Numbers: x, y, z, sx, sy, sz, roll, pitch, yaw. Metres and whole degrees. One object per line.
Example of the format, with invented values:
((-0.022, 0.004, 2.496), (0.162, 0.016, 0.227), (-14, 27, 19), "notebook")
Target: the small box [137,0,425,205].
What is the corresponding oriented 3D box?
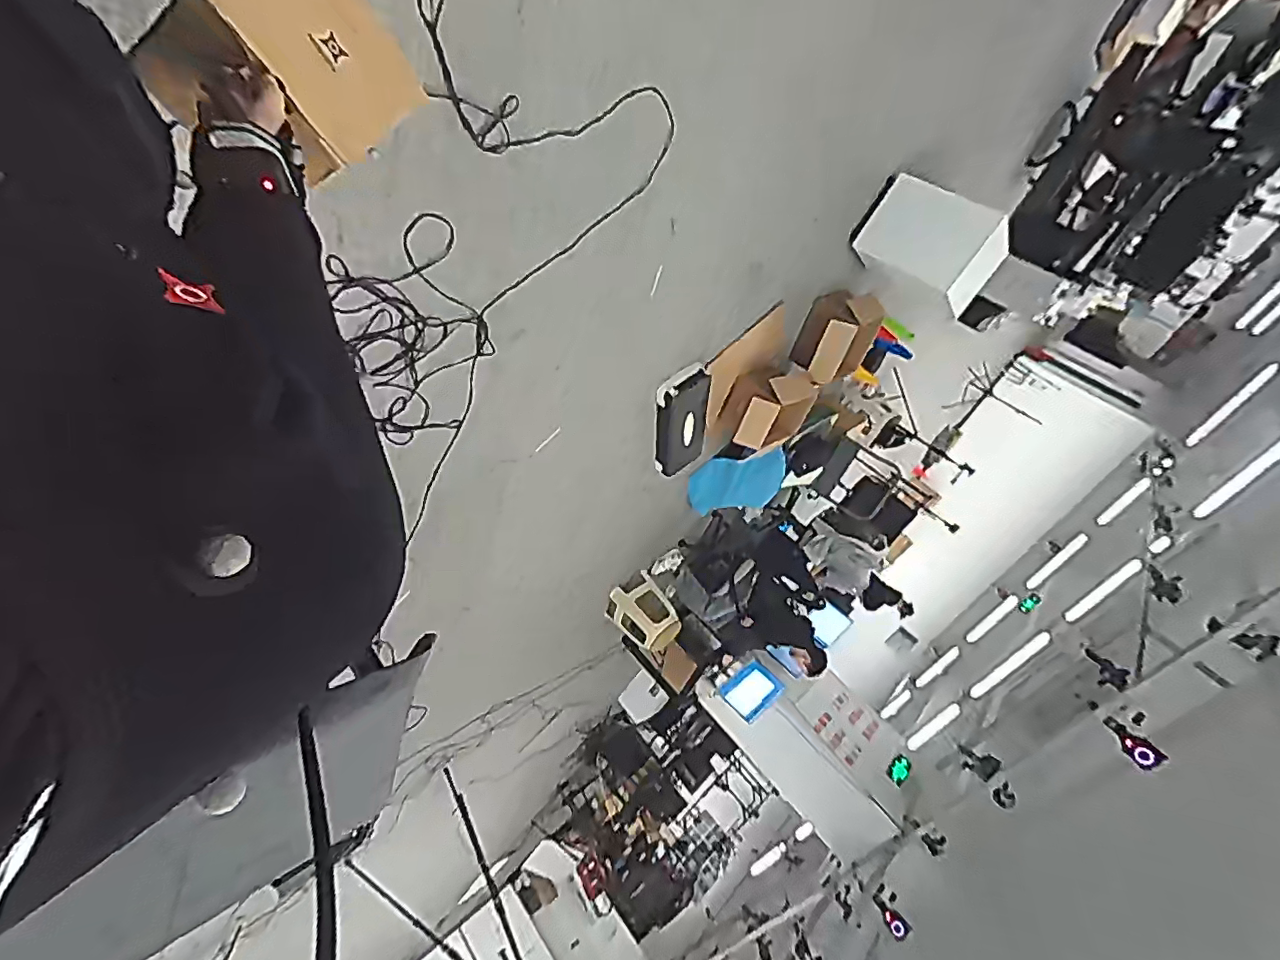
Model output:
((-0.381, -0.431, 0.583), (0.168, 0.176, 0.179), (56, 41, -43), "small box")
